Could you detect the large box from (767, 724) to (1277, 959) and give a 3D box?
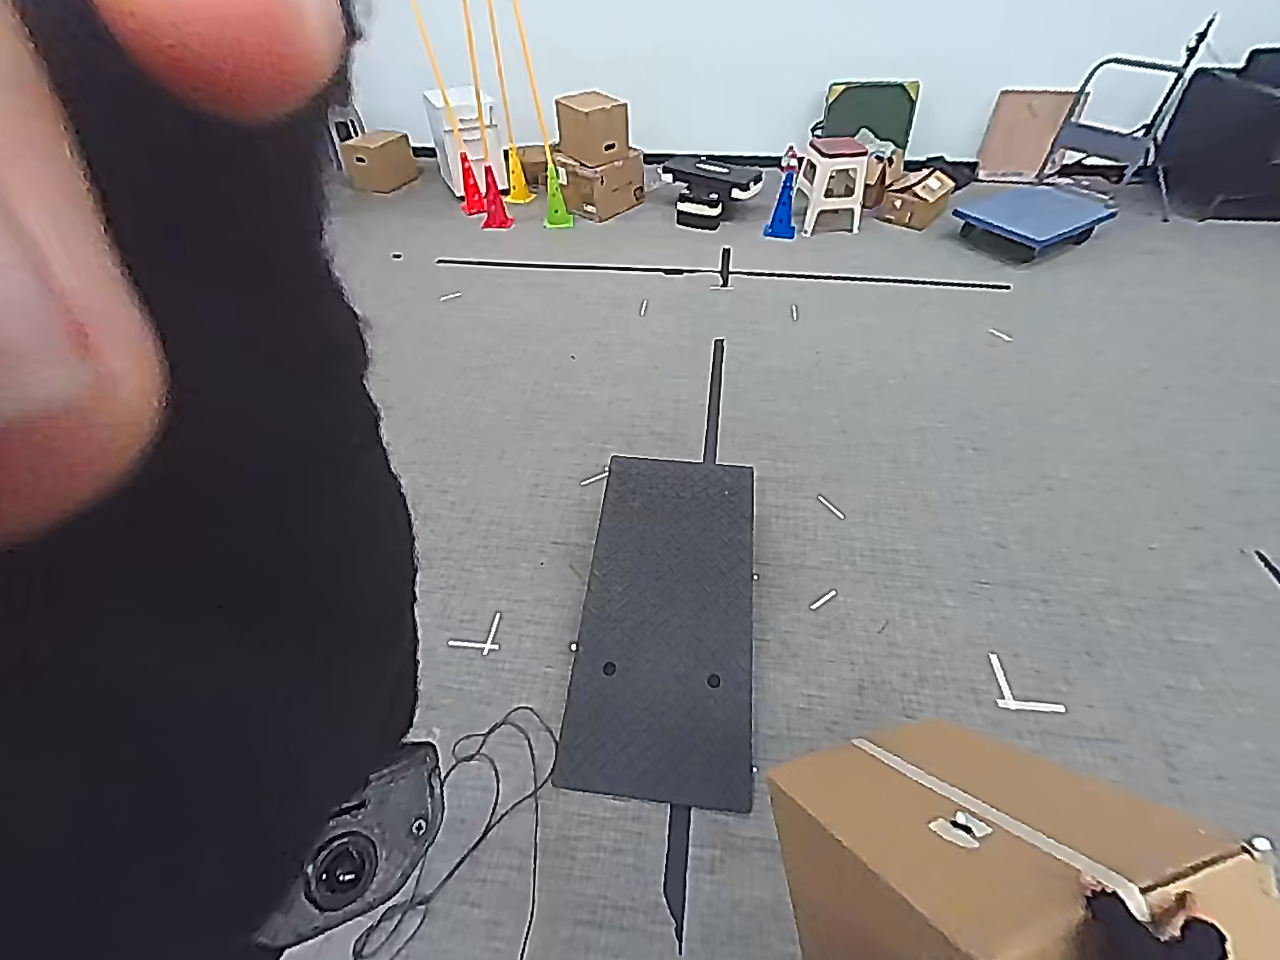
[{"bbox_3d":[0.398,0.538,0.640,0.320,0.408,0.320,-9,85,-13],"label":"large box"}]

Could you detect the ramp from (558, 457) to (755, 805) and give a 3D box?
[{"bbox_3d":[0.092,0.356,1.596,0.509,0.206,0.991,4,47,4],"label":"ramp"}]
